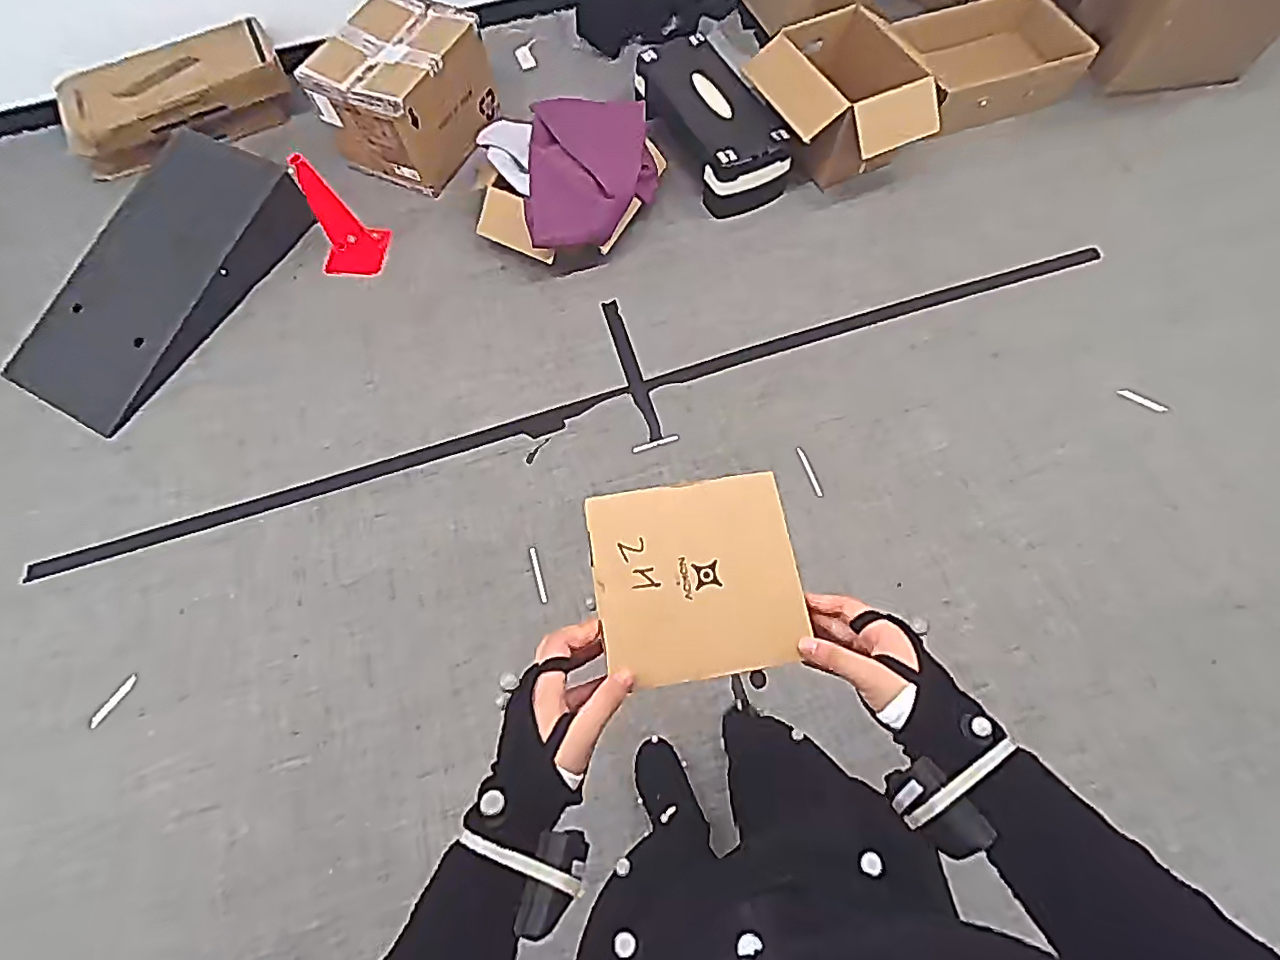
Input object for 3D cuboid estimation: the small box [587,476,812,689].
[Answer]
[{"bbox_3d":[0.046,0.107,0.546,0.179,0.176,0.168,-8,73,-4],"label":"small box"}]
